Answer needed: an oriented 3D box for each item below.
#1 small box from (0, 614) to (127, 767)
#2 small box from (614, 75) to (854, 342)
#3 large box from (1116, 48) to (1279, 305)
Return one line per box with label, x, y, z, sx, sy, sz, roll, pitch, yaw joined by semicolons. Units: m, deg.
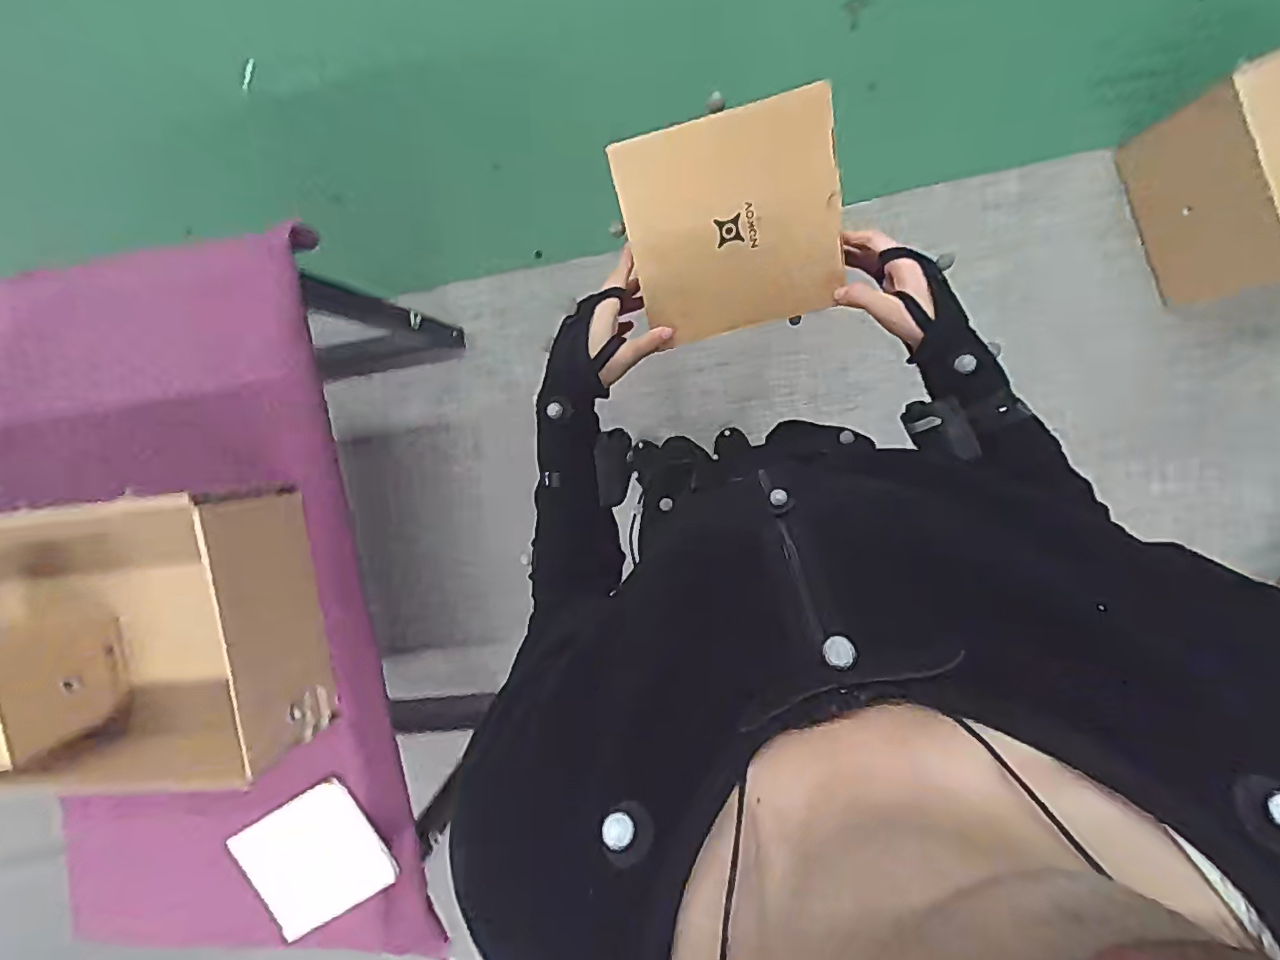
small box;-0.937;0.311;0.821;0.179;0.176;0.168;-6;95;7
small box;0.080;-0.244;0.510;0.179;0.176;0.168;-13;116;4
large box;1.328;-0.644;1.128;0.320;0.320;0.408;-22;91;9
